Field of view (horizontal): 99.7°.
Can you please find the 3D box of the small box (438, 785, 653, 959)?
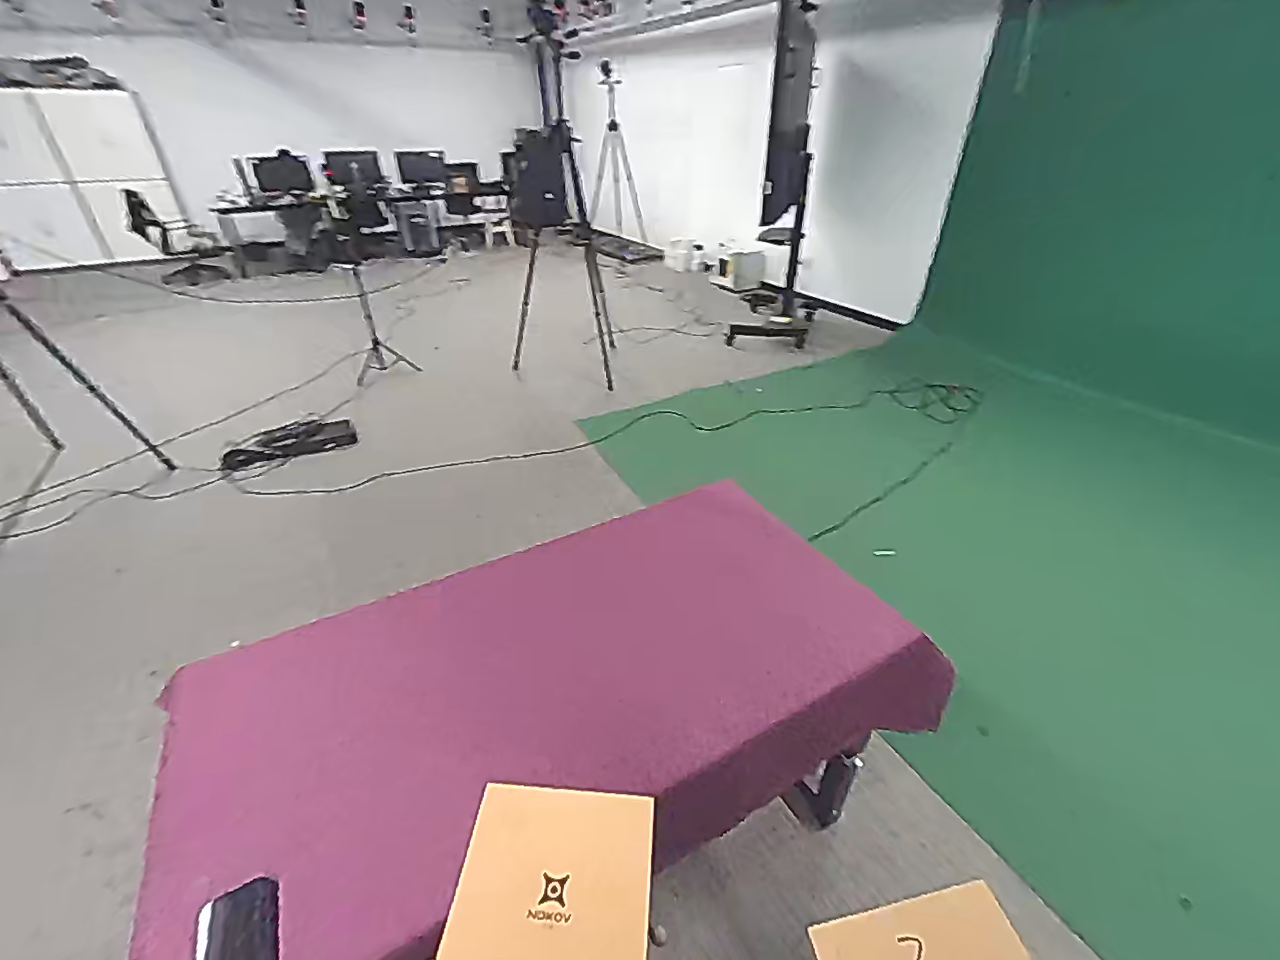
[{"bbox_3d":[-0.078,0.422,0.508,0.168,0.176,0.179,4,35,2],"label":"small box"}]
